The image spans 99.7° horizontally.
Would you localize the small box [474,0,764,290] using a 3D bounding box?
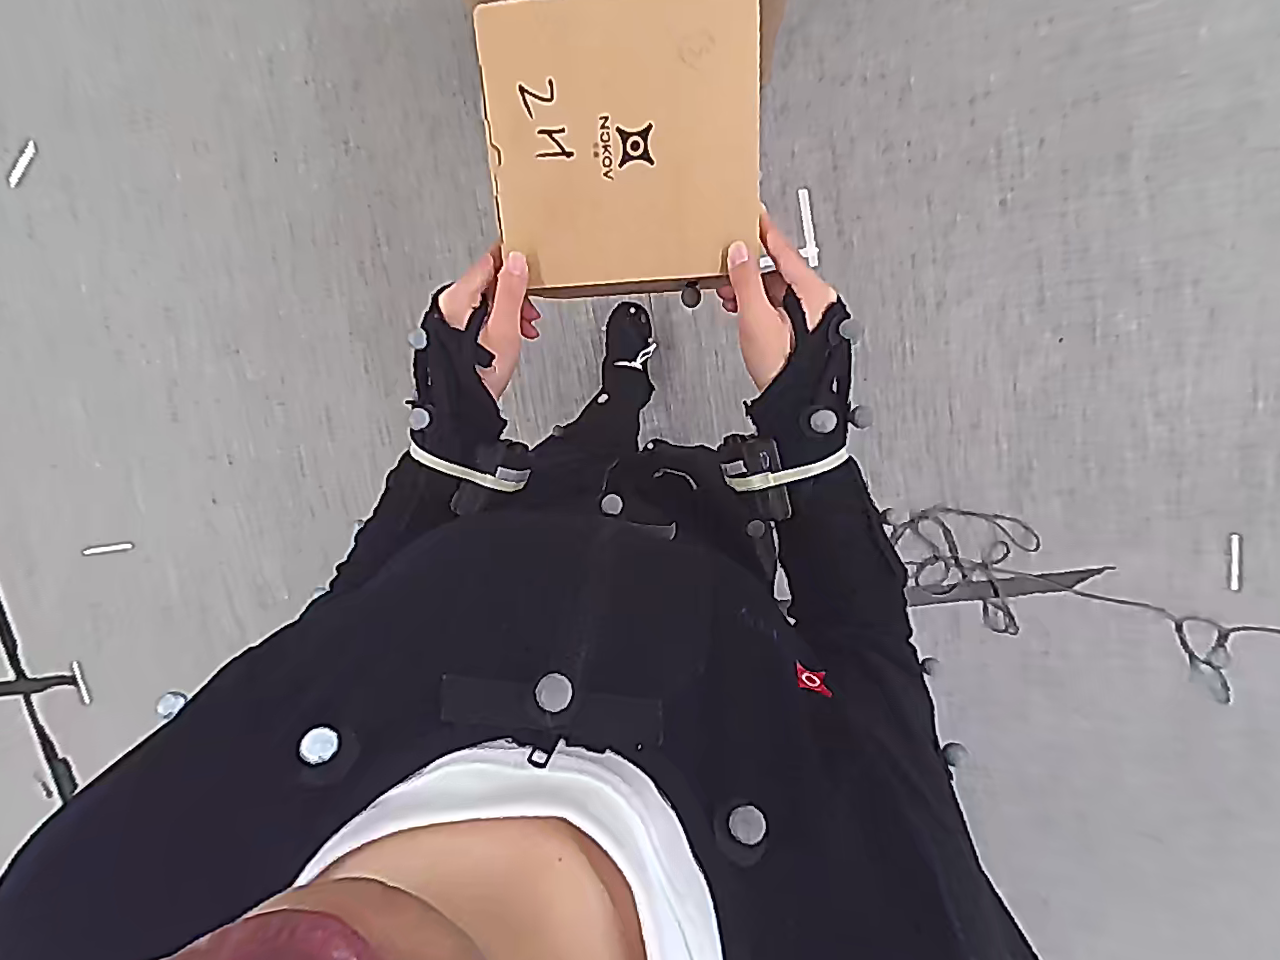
[{"bbox_3d":[-0.007,-0.240,0.417,0.179,0.176,0.168,-2,106,4],"label":"small box"}]
